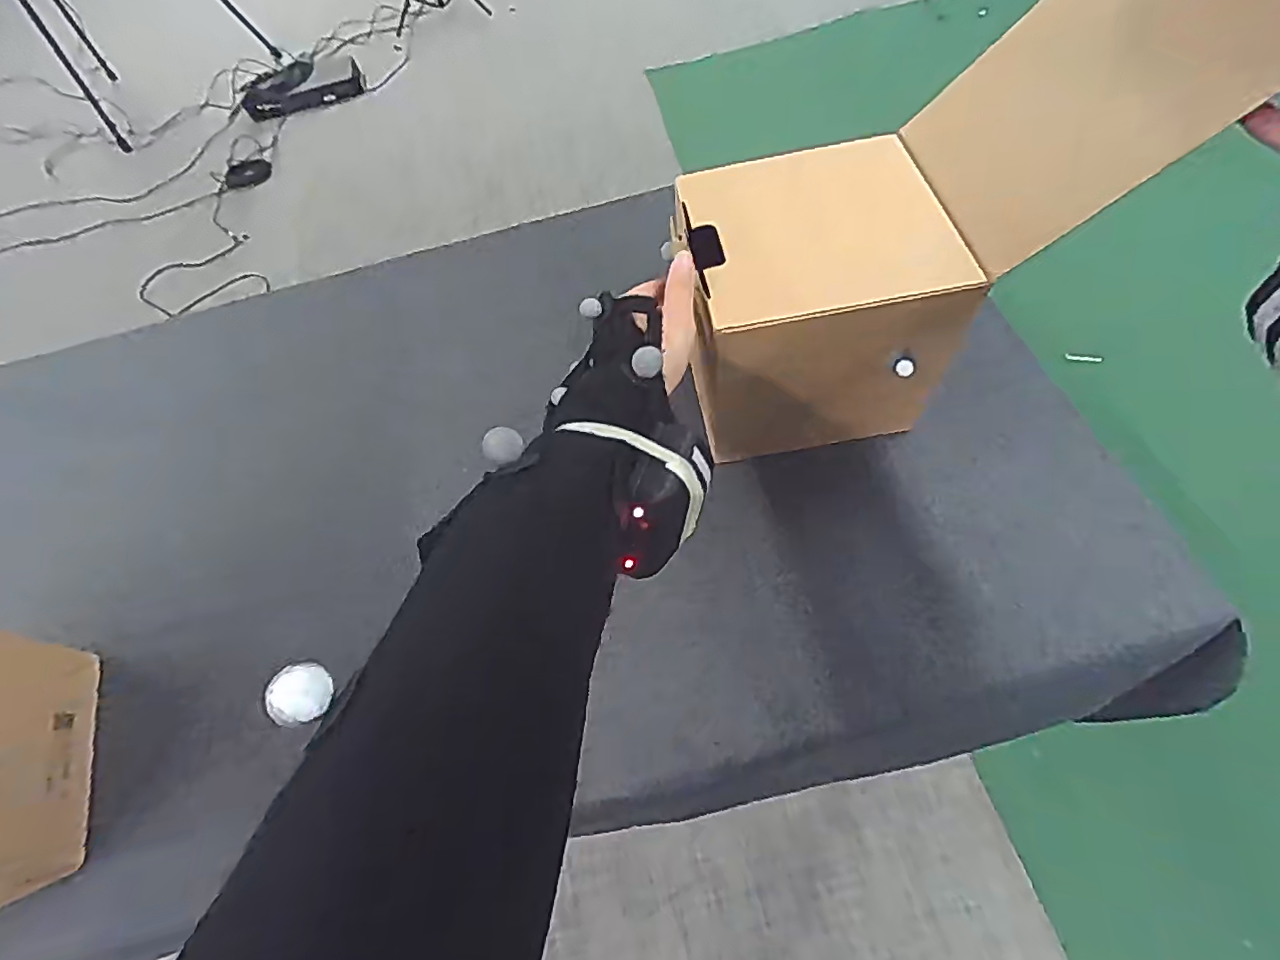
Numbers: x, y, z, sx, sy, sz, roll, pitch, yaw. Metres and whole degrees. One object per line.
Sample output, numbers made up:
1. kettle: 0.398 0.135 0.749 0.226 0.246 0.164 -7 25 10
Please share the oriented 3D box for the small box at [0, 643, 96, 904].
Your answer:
1. small box: -0.515 0.208 0.347 0.179 0.176 0.168 -25 60 -6
